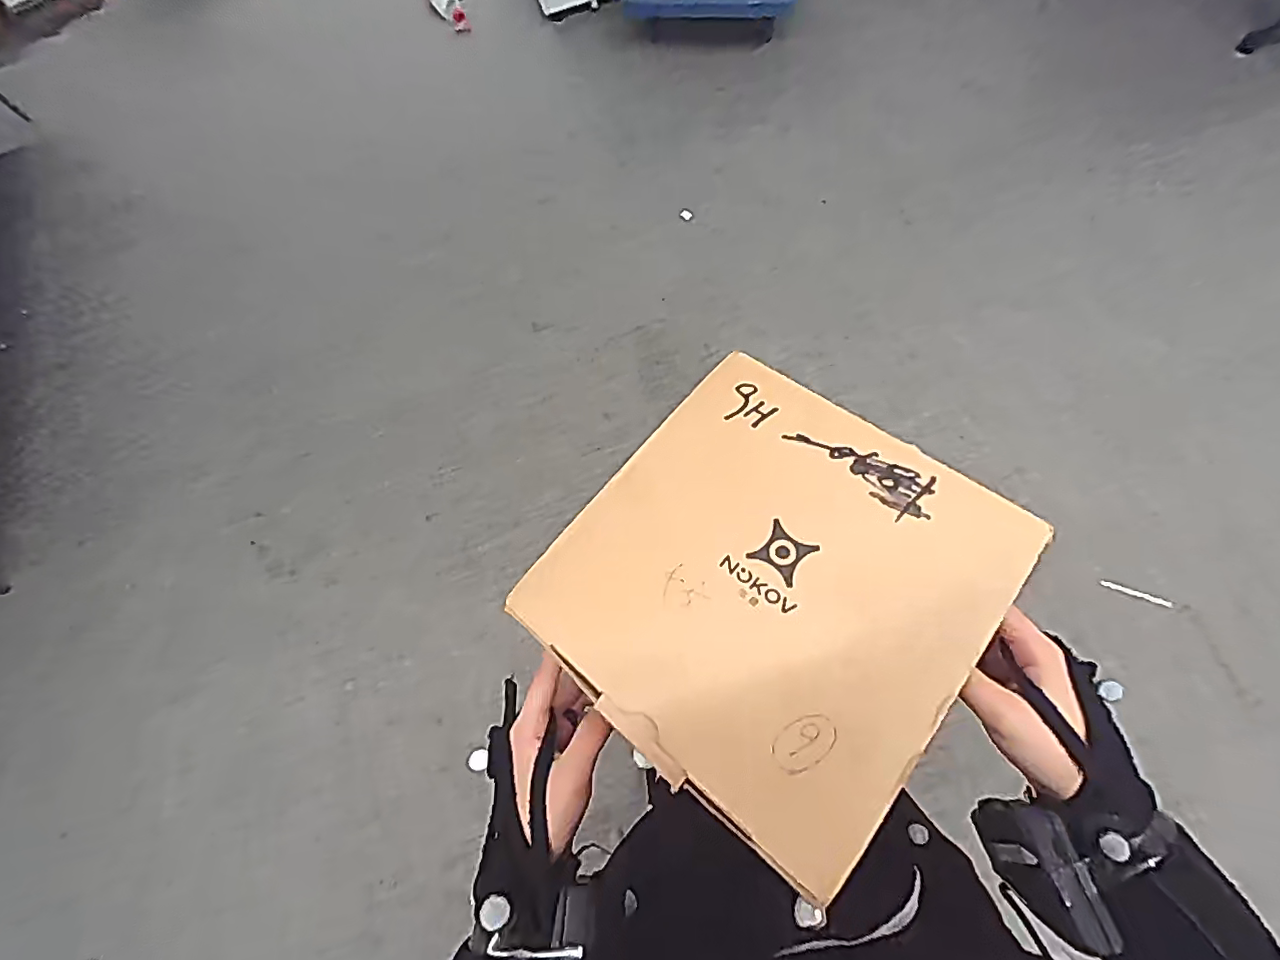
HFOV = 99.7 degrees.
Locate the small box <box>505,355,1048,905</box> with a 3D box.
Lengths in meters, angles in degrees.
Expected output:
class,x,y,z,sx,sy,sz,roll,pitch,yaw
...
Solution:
class,x,y,z,sx,sy,sz,roll,pitch,yaw
small box,0.065,0.074,0.303,0.168,0.176,0.179,37,75,22
